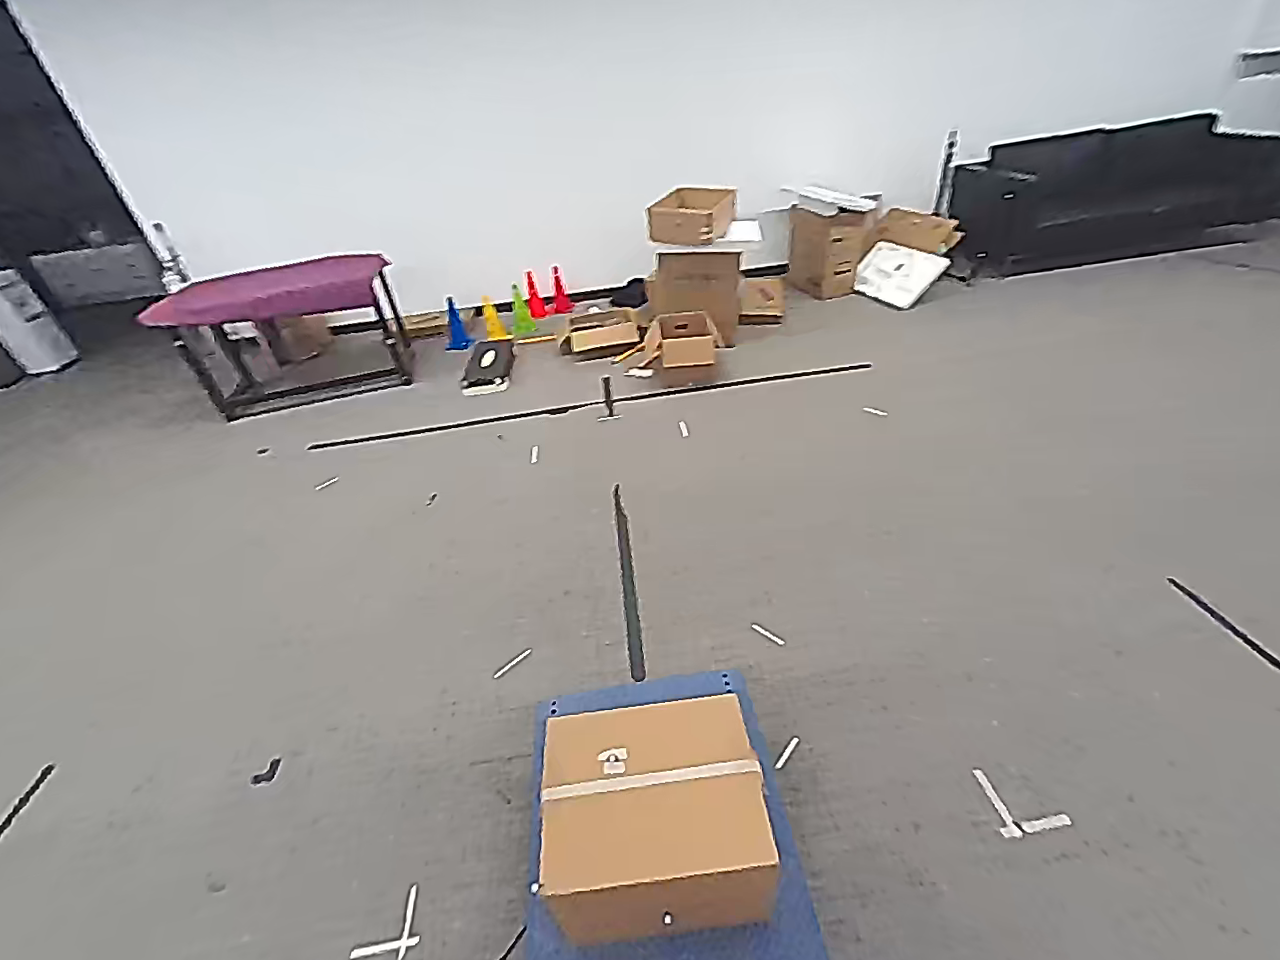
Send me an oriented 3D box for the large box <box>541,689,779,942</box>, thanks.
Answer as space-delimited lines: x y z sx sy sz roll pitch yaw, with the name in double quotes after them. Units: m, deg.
0.037 0.673 1.092 0.408 0.320 0.320 -9 36 0 "large box"
